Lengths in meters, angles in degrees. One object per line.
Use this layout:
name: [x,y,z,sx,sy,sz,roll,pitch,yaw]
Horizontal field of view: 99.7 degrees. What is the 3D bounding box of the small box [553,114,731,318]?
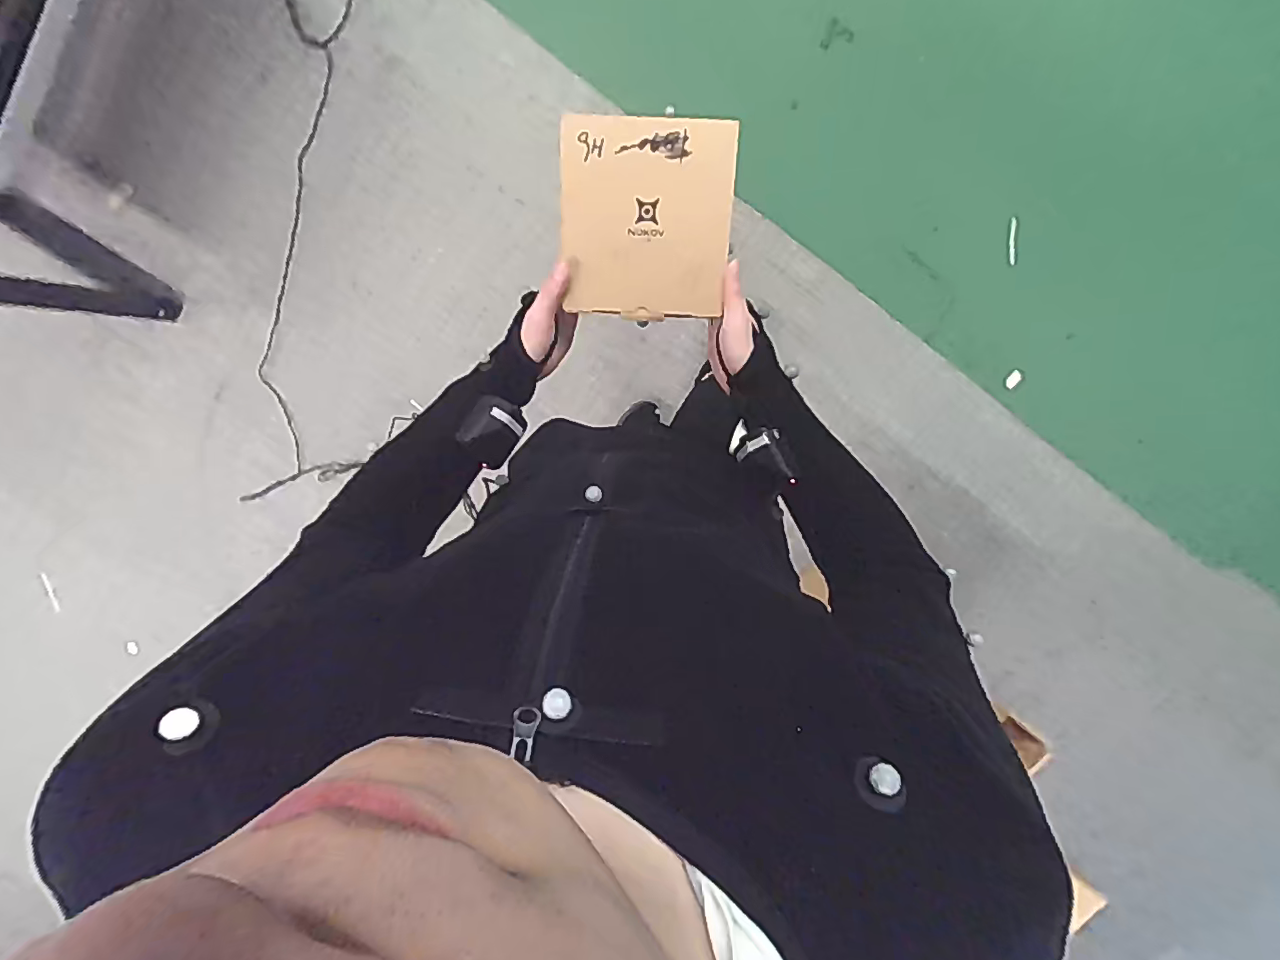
small box: [0.003,-0.278,0.594,0.168,0.176,0.179,2,111,1]
